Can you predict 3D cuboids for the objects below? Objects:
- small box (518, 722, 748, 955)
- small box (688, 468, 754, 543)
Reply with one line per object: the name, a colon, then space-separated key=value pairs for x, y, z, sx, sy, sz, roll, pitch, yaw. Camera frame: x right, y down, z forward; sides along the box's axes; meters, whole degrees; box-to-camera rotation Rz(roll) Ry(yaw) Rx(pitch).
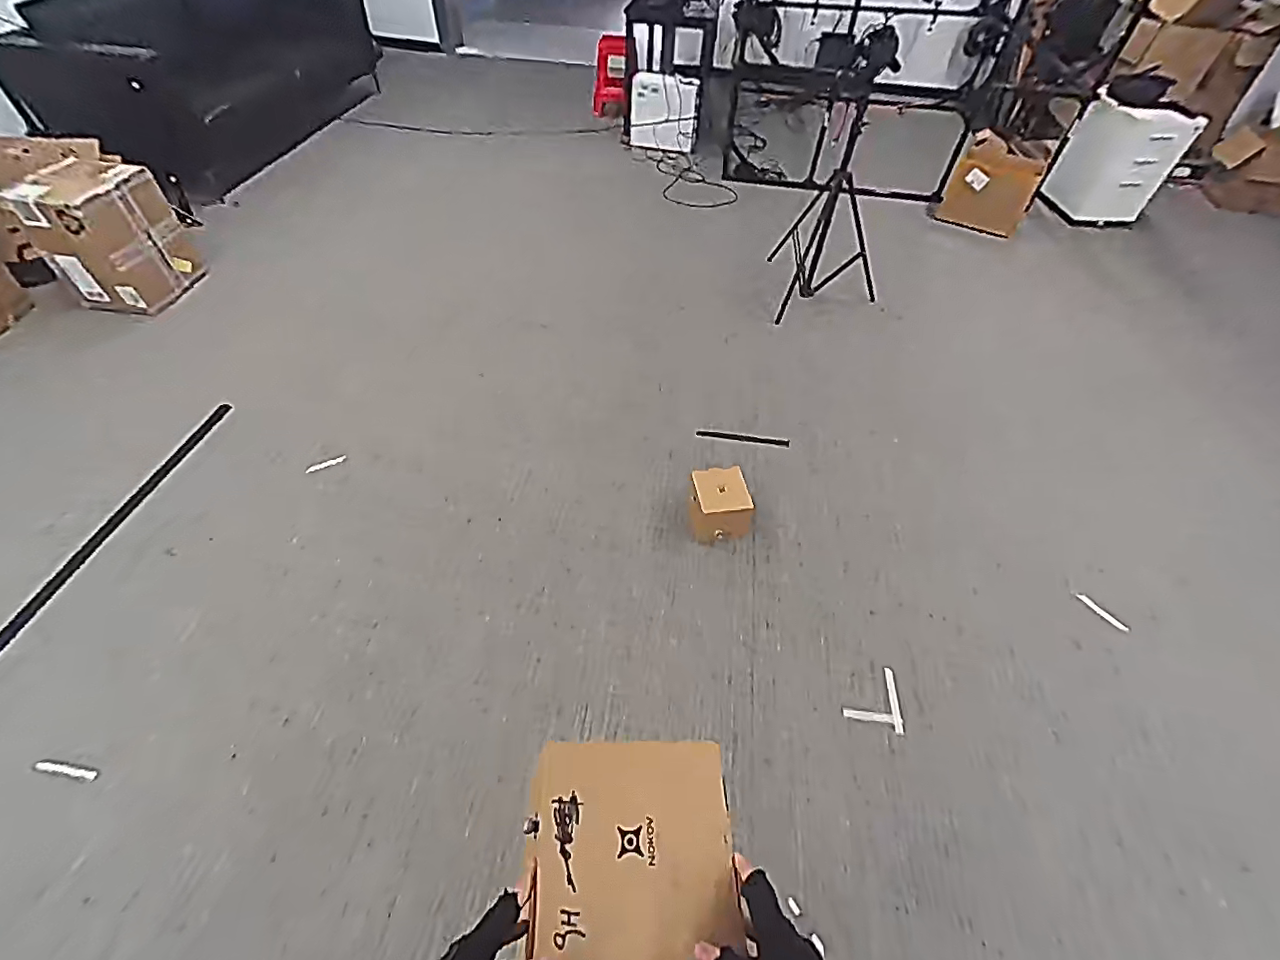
small box: x=-0.019 y=0.349 z=0.531 sx=0.179 sy=0.176 sz=0.168 roll=6 pitch=49 yaw=-13
small box: x=0.260 y=0.085 z=1.785 sx=0.168 sy=0.176 sz=0.179 roll=-7 pitch=51 yaw=-7
